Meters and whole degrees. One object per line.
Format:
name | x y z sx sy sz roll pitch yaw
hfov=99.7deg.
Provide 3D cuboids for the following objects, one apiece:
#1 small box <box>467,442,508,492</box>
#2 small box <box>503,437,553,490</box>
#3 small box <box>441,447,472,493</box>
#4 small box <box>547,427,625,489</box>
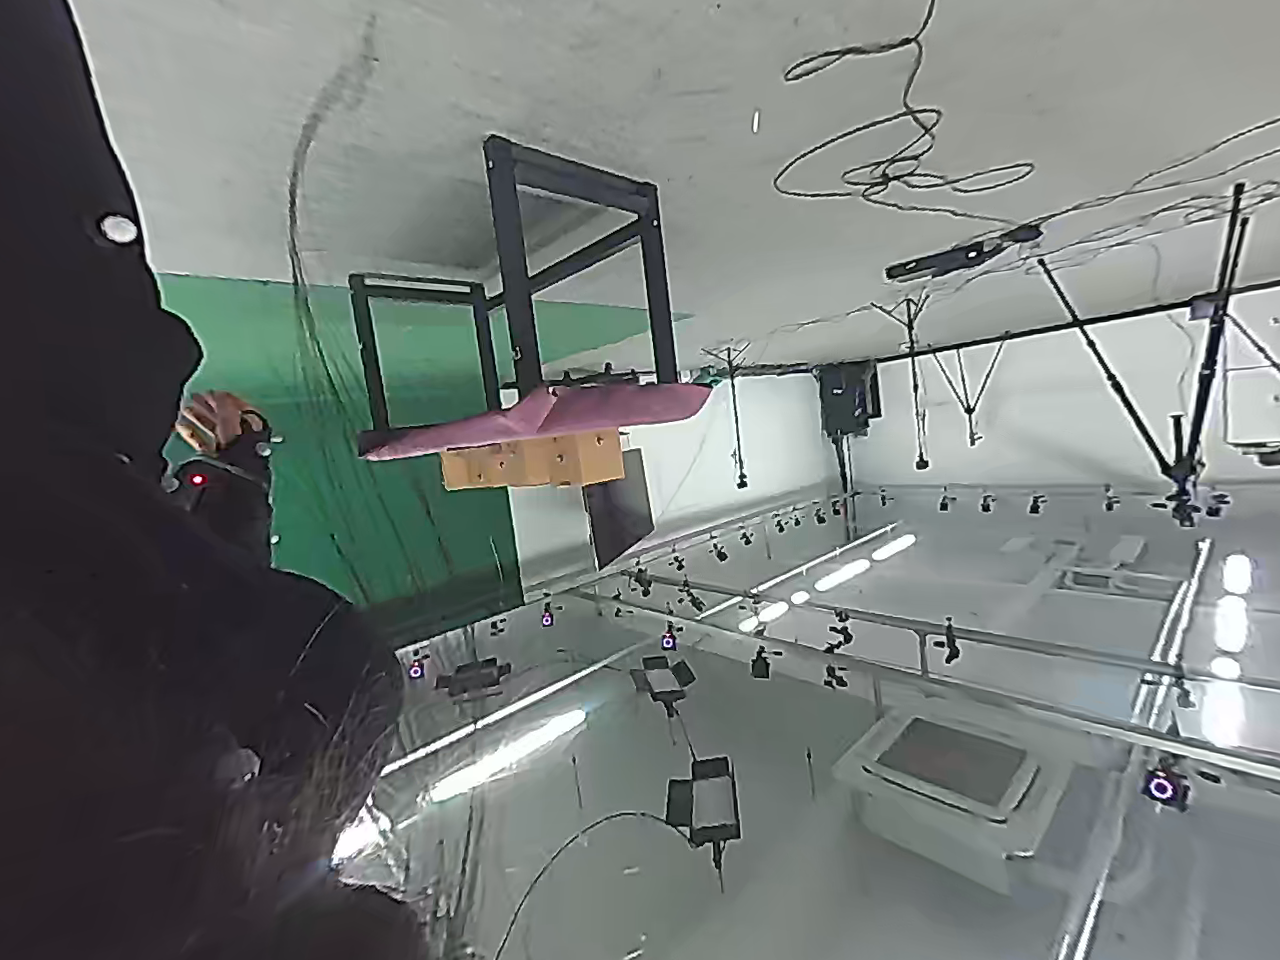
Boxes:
small box | -0.541 -0.054 2.057 0.179 0.176 0.168 -3 -174 43
small box | -0.355 -0.061 1.876 0.179 0.176 0.168 -10 -175 -39
small box | -0.725 -0.045 2.238 0.168 0.176 0.179 -10 -174 -22
small box | -0.170 -0.068 1.681 0.179 0.176 0.168 -11 -173 -44
